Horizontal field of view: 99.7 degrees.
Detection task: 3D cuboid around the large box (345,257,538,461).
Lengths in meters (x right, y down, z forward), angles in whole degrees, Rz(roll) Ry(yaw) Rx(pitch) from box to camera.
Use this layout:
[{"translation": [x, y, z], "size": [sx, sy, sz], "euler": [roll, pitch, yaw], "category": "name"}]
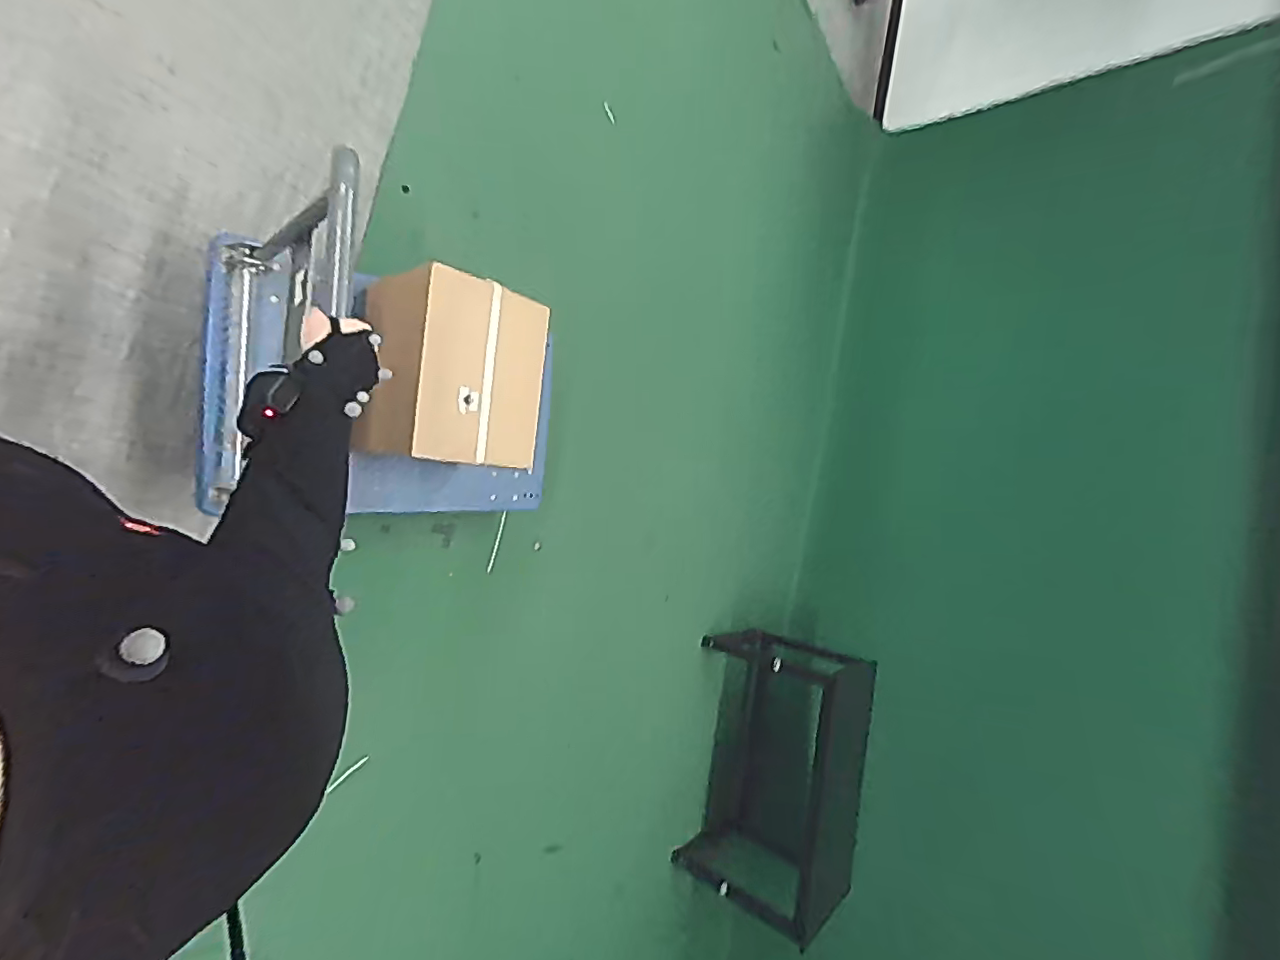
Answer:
[{"translation": [-0.481, -0.267, 1.312], "size": [0.320, 0.320, 0.408], "euler": [6, 90, -50], "category": "large box"}]
